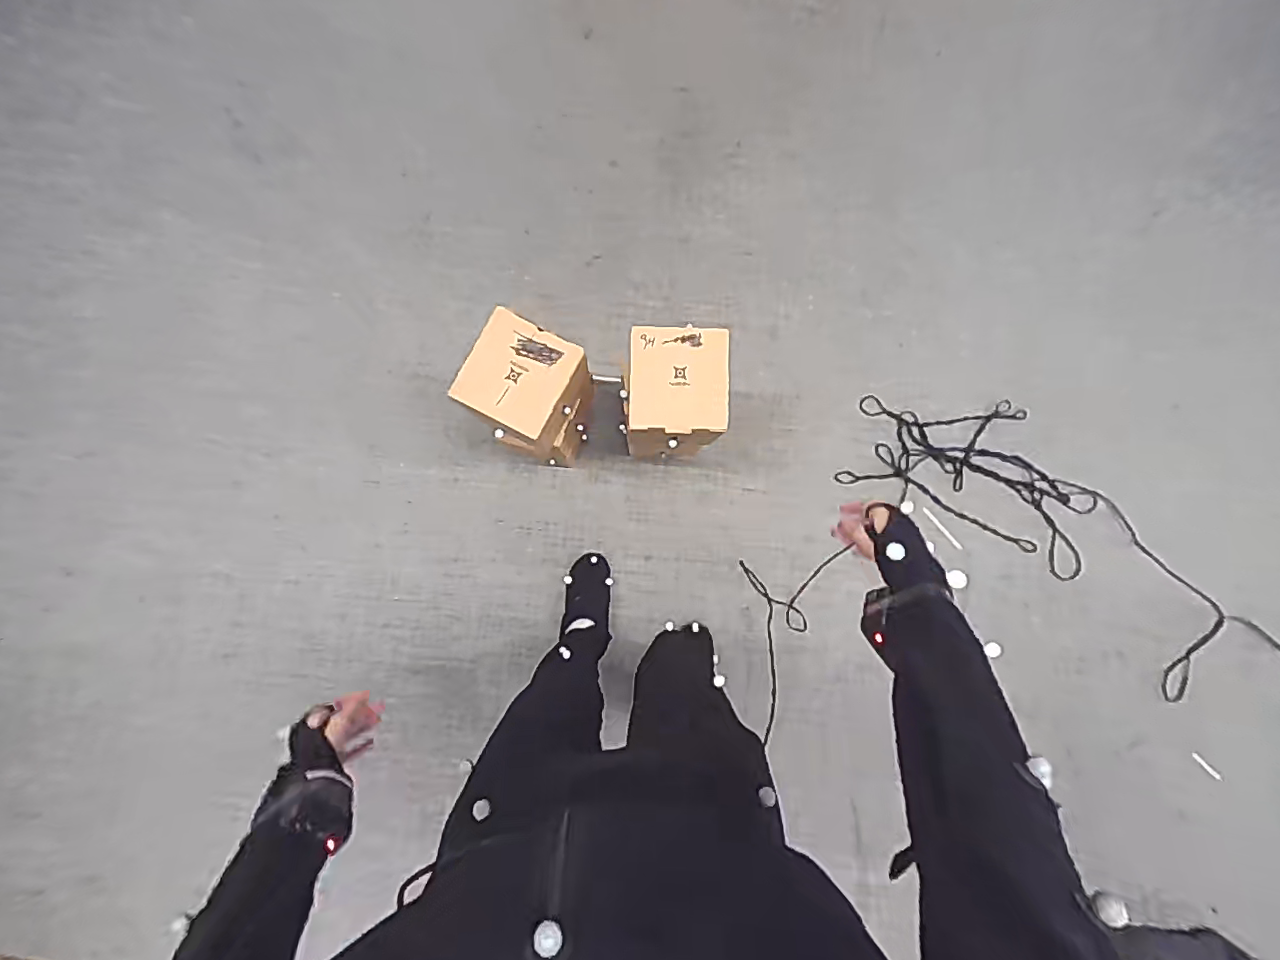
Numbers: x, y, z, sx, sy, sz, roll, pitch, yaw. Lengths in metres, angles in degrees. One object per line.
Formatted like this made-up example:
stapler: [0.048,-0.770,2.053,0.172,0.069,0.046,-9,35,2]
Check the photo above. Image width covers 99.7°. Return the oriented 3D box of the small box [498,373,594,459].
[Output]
small box: [-0.208,-0.155,1.133,0.179,0.176,0.168,23,83,0]

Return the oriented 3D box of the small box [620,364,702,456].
small box: [0.054,-0.148,1.137,0.179,0.176,0.168,-6,85,-2]

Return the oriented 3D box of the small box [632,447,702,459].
small box: [0.057,-0.145,1.300,0.168,0.176,0.179,-2,84,-1]

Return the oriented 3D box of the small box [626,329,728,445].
small box: [0.061,-0.157,0.974,0.168,0.176,0.179,2,86,-1]

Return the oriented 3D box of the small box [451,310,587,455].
small box: [-0.205,-0.164,0.968,0.168,0.176,0.179,27,84,0]
